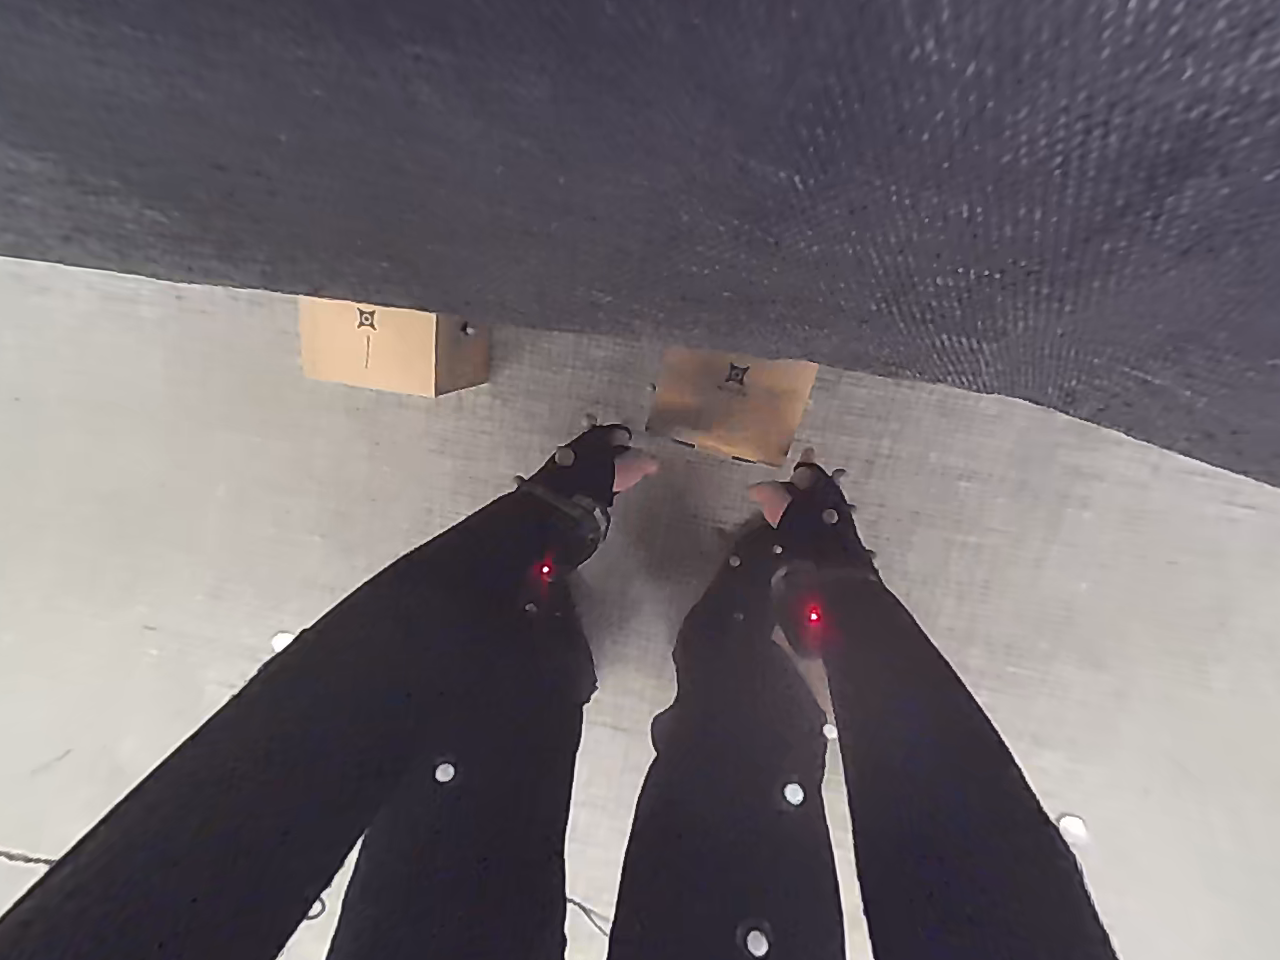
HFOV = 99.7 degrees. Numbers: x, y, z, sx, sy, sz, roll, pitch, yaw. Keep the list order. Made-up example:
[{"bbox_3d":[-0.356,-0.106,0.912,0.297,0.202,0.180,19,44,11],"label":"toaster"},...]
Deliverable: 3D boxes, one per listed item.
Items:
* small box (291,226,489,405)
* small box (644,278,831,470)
[{"bbox_3d":[-0.299,-0.202,0.679,0.168,0.176,0.179,8,107,4],"label":"small box"},{"bbox_3d":[0.109,-0.131,0.661,0.168,0.176,0.179,14,105,1],"label":"small box"}]
